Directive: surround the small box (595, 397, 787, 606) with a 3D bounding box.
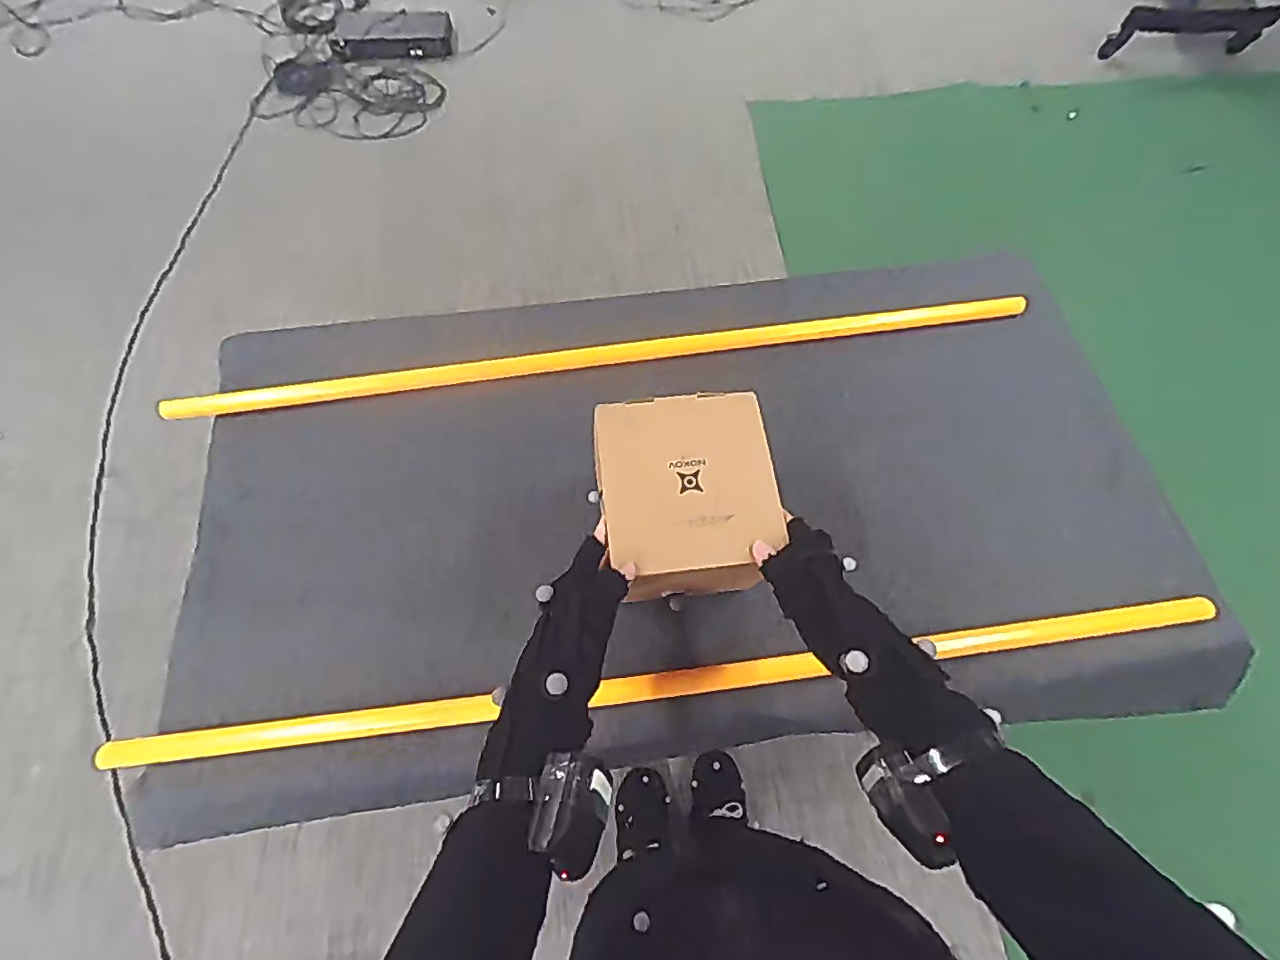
[{"bbox_3d":[0.040,0.031,0.591,0.168,0.176,0.179,-6,70,-5],"label":"small box"}]
